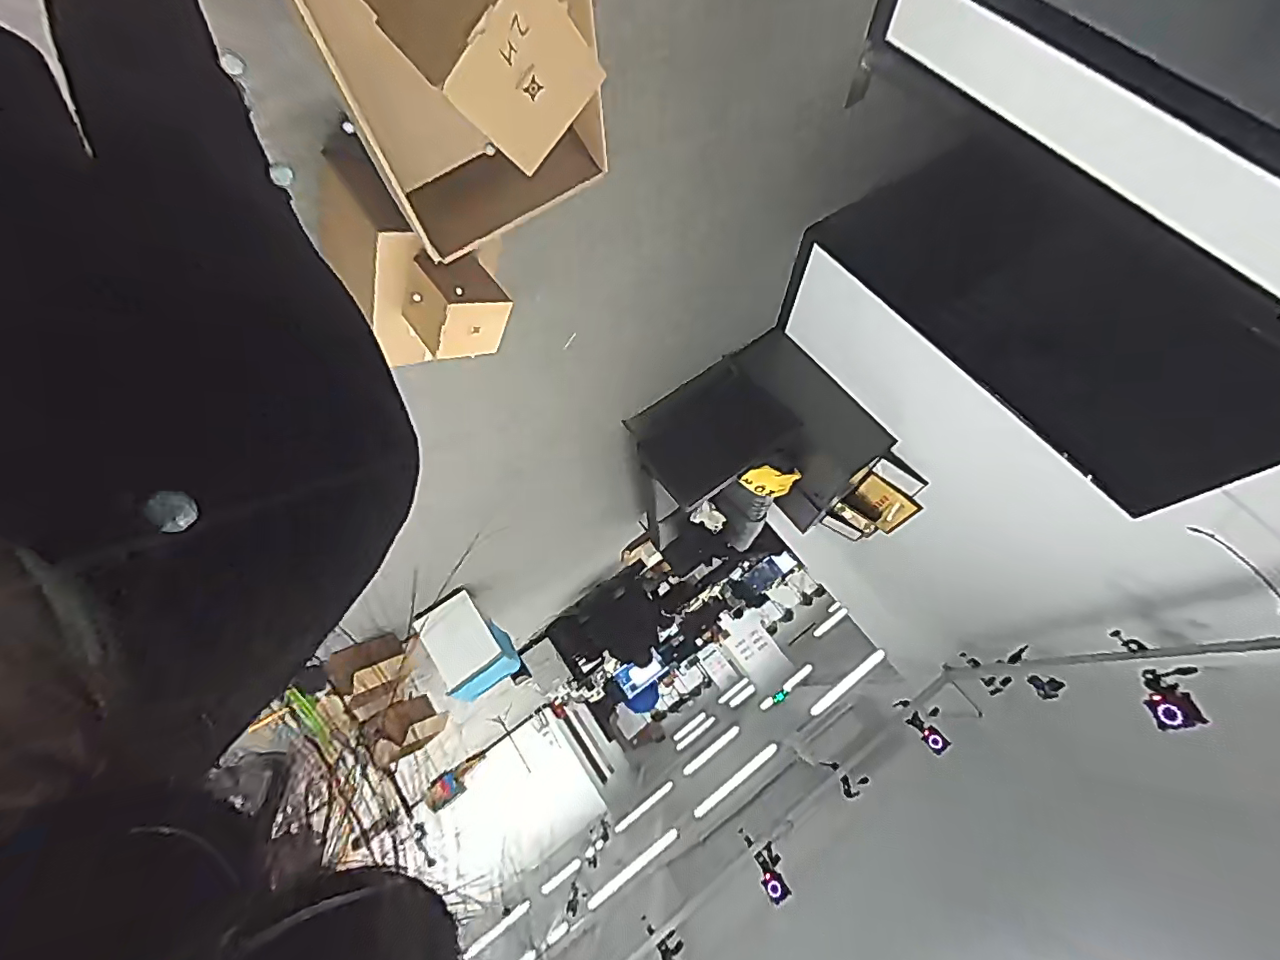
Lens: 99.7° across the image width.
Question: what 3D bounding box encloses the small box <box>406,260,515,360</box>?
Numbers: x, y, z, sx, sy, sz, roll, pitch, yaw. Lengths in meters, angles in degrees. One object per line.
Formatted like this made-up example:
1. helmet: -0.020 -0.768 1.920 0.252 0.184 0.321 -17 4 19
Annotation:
1. small box: -0.444 -0.420 1.329 0.179 0.176 0.168 -21 155 -44

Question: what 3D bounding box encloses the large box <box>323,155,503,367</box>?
1. large box: -0.610 -0.574 1.431 0.320 0.320 0.408 -22 157 -39

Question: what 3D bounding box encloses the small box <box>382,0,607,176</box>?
1. small box: -0.180 -0.541 0.682 0.168 0.176 0.179 -44 159 16
